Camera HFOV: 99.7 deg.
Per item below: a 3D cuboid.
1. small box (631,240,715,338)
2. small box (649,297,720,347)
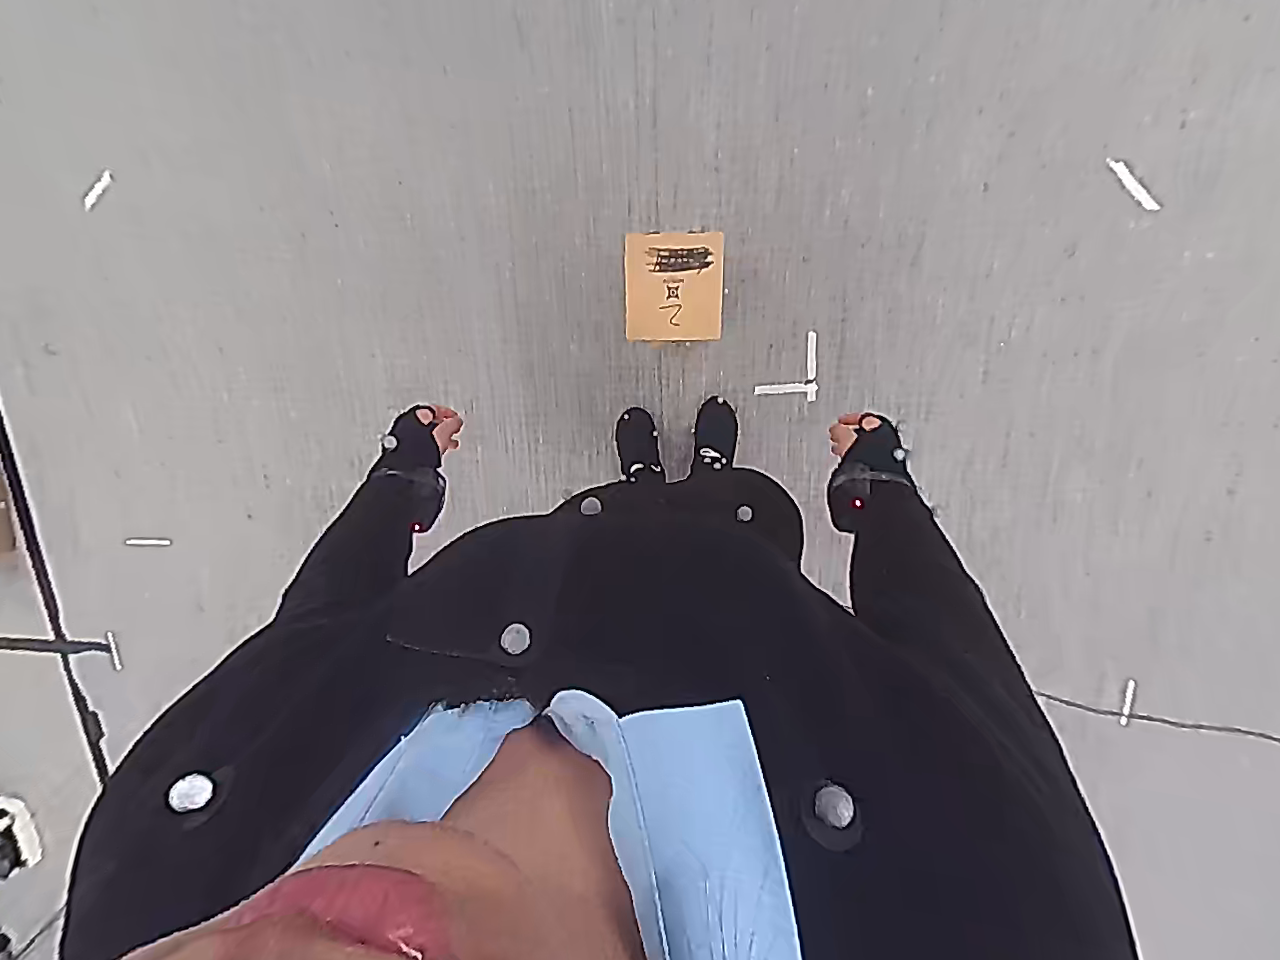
[{"bbox_3d":[0.069,-0.395,1.142,0.168,0.176,0.179,1,103,5],"label":"small box"},{"bbox_3d":[0.092,-0.425,1.300,0.168,0.176,0.179,-11,102,9],"label":"small box"}]
